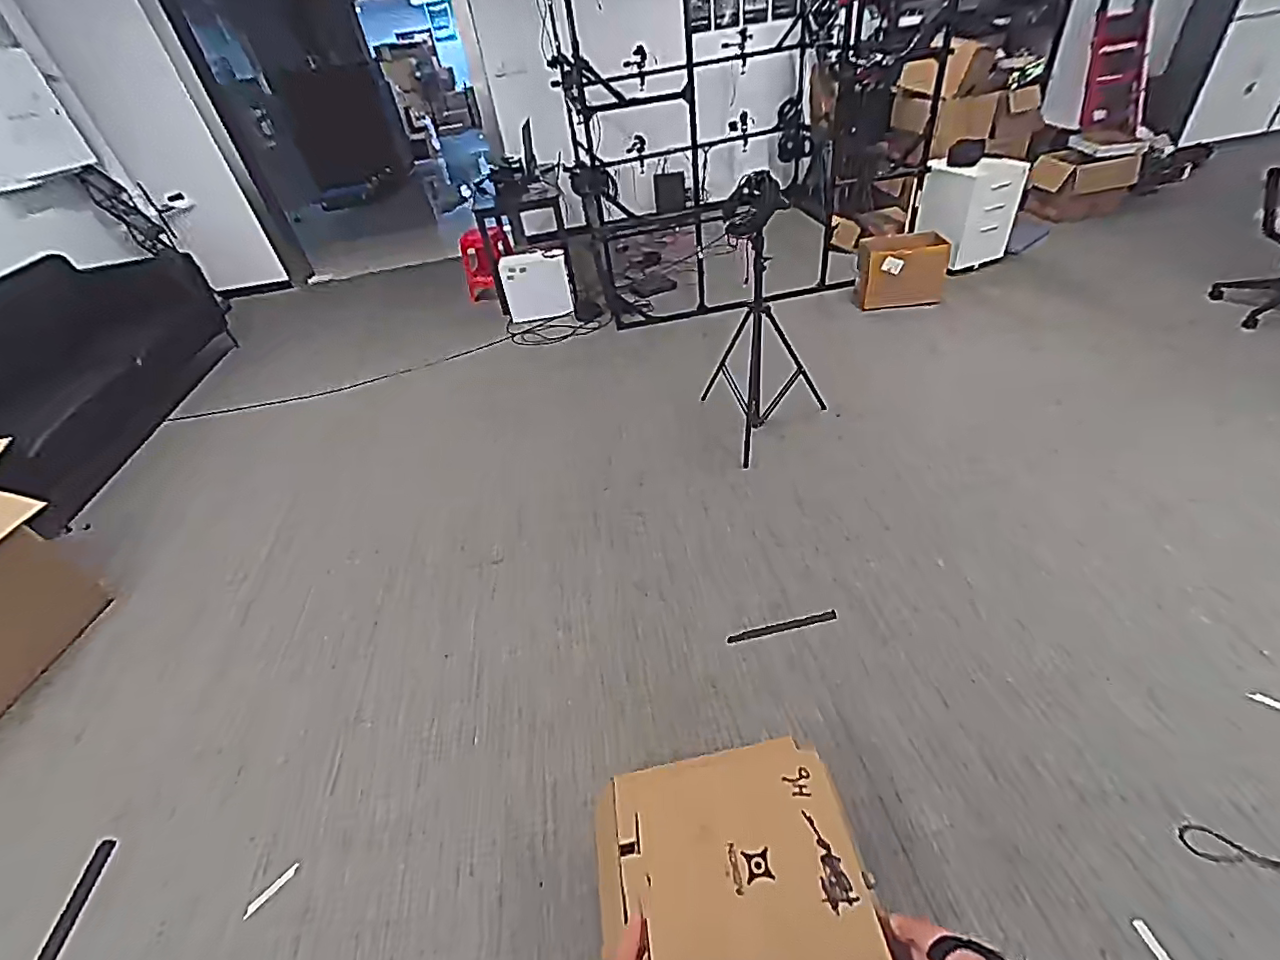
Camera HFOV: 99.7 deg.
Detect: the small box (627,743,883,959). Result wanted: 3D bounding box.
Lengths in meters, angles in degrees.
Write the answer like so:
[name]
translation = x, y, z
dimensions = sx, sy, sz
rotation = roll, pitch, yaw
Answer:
[small box]
translation = 0.091, 0.372, 0.493
dimensions = 0.179, 0.176, 0.168
rotation = -9, 39, -1
